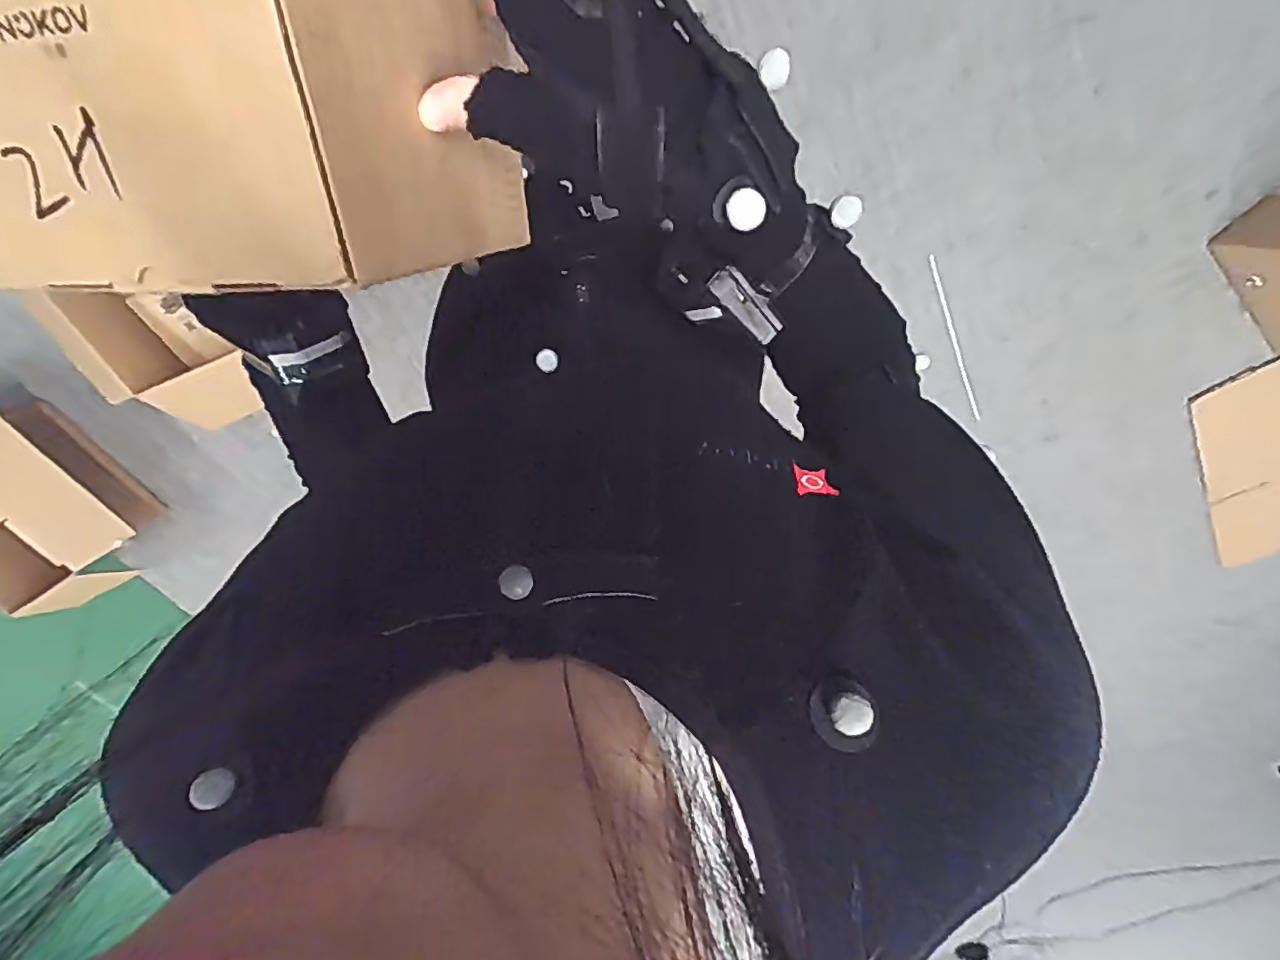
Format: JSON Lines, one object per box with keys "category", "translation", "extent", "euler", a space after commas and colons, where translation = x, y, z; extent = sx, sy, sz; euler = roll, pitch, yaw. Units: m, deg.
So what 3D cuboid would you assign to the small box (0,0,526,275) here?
{"category": "small box", "translation": [-0.160, -0.189, 0.225], "extent": [0.168, 0.176, 0.179], "euler": [4, 120, 10]}
